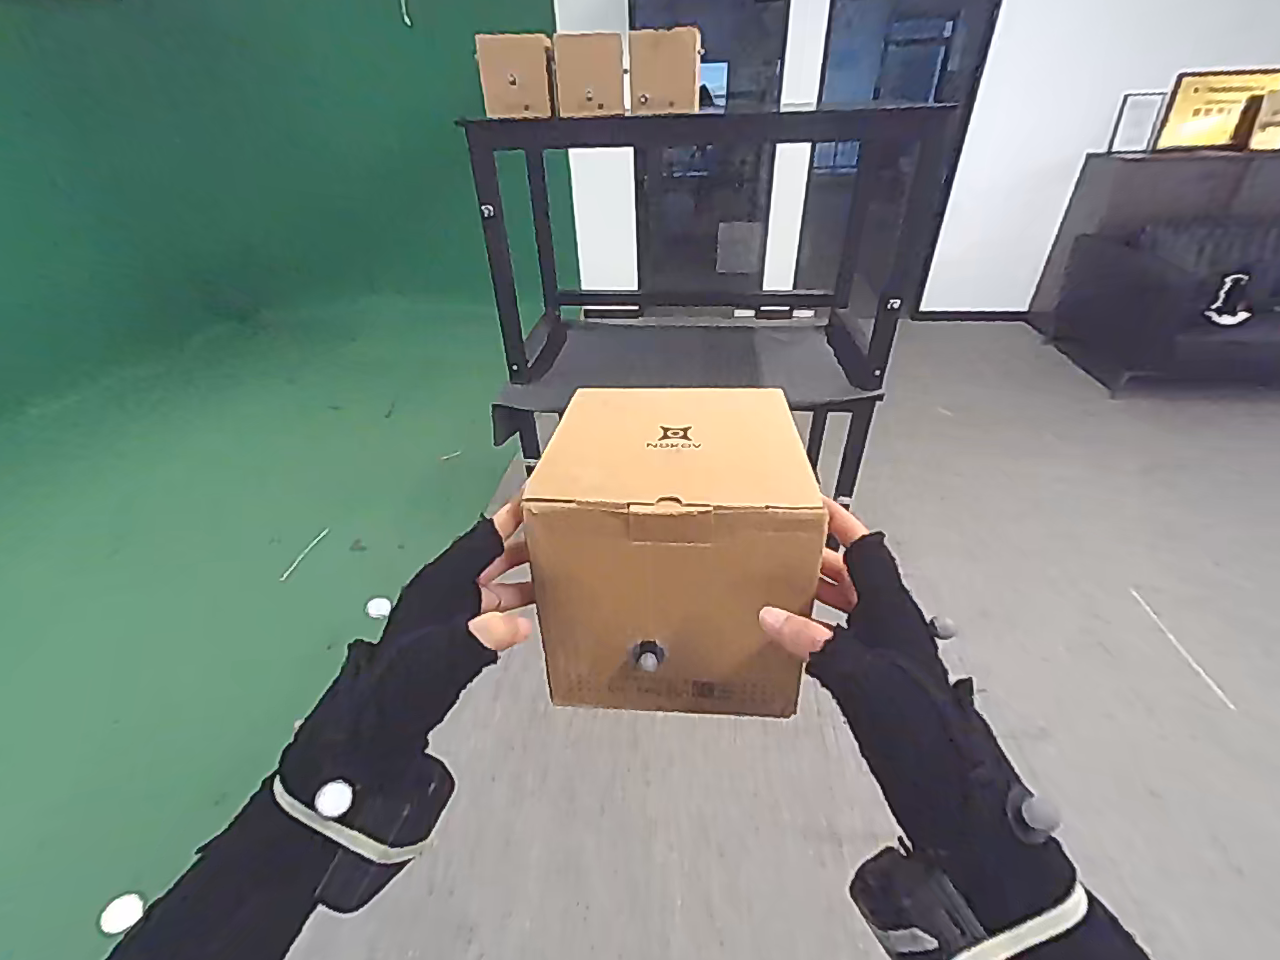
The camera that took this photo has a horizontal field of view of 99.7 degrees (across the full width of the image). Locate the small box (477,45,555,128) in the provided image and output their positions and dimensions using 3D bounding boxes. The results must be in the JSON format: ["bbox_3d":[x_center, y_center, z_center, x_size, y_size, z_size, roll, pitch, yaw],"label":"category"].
[{"bbox_3d":[-0.320,-1.041,1.437,0.168,0.176,0.179,-1,34,-1],"label":"small box"}]

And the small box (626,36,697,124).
[{"bbox_3d":[0.061,-1.035,1.407,0.168,0.176,0.179,3,34,8],"label":"small box"}]

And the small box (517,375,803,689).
[{"bbox_3d":[0.018,0.028,0.412,0.168,0.176,0.179,1,30,5],"label":"small box"}]
